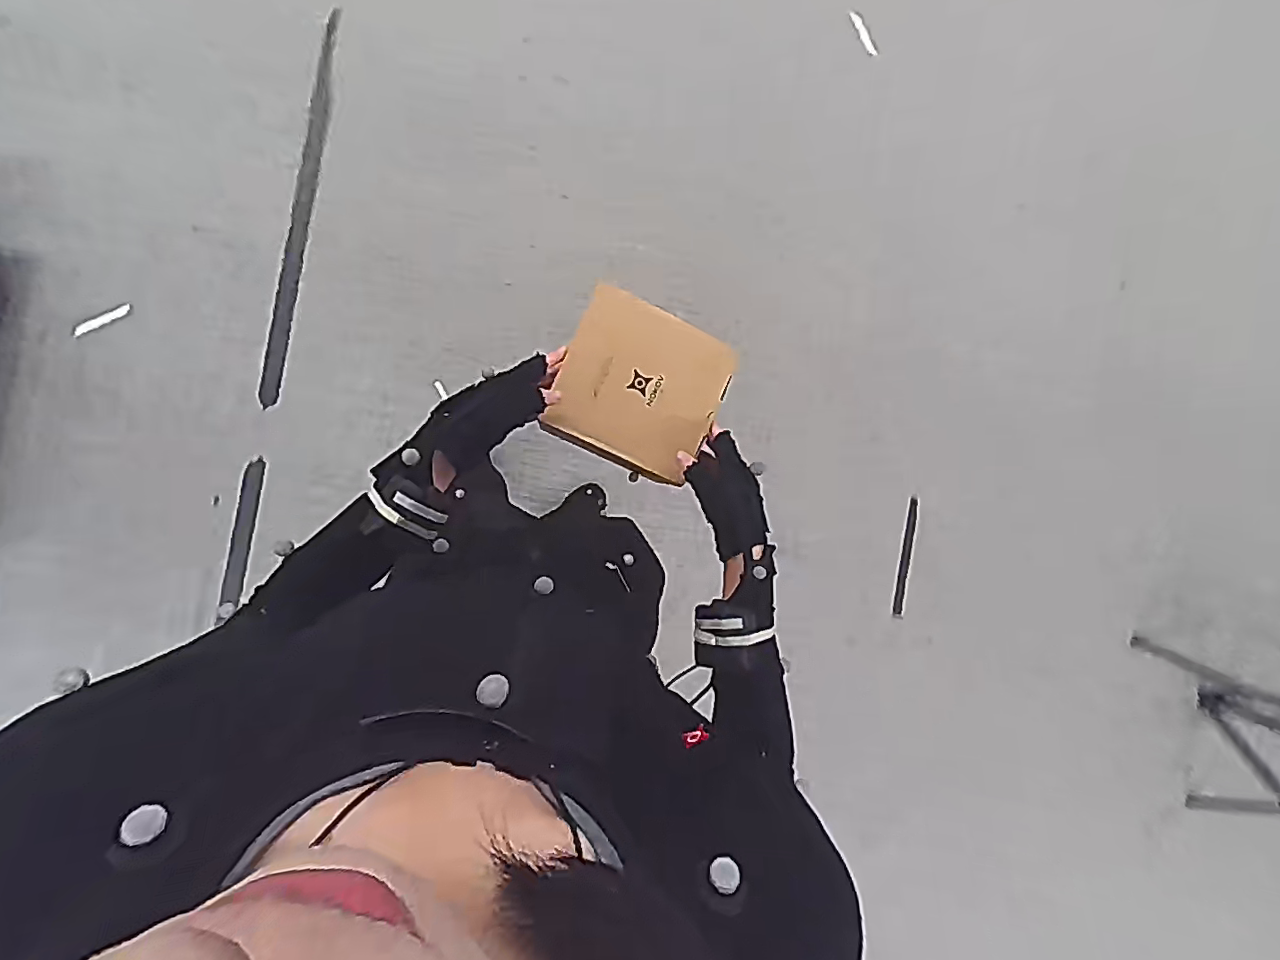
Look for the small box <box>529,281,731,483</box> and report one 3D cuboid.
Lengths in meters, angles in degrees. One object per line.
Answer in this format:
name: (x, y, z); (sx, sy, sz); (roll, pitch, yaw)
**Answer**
small box: (-0.020, -0.105, 0.655); (0.179, 0.176, 0.168); (22, 86, -8)
